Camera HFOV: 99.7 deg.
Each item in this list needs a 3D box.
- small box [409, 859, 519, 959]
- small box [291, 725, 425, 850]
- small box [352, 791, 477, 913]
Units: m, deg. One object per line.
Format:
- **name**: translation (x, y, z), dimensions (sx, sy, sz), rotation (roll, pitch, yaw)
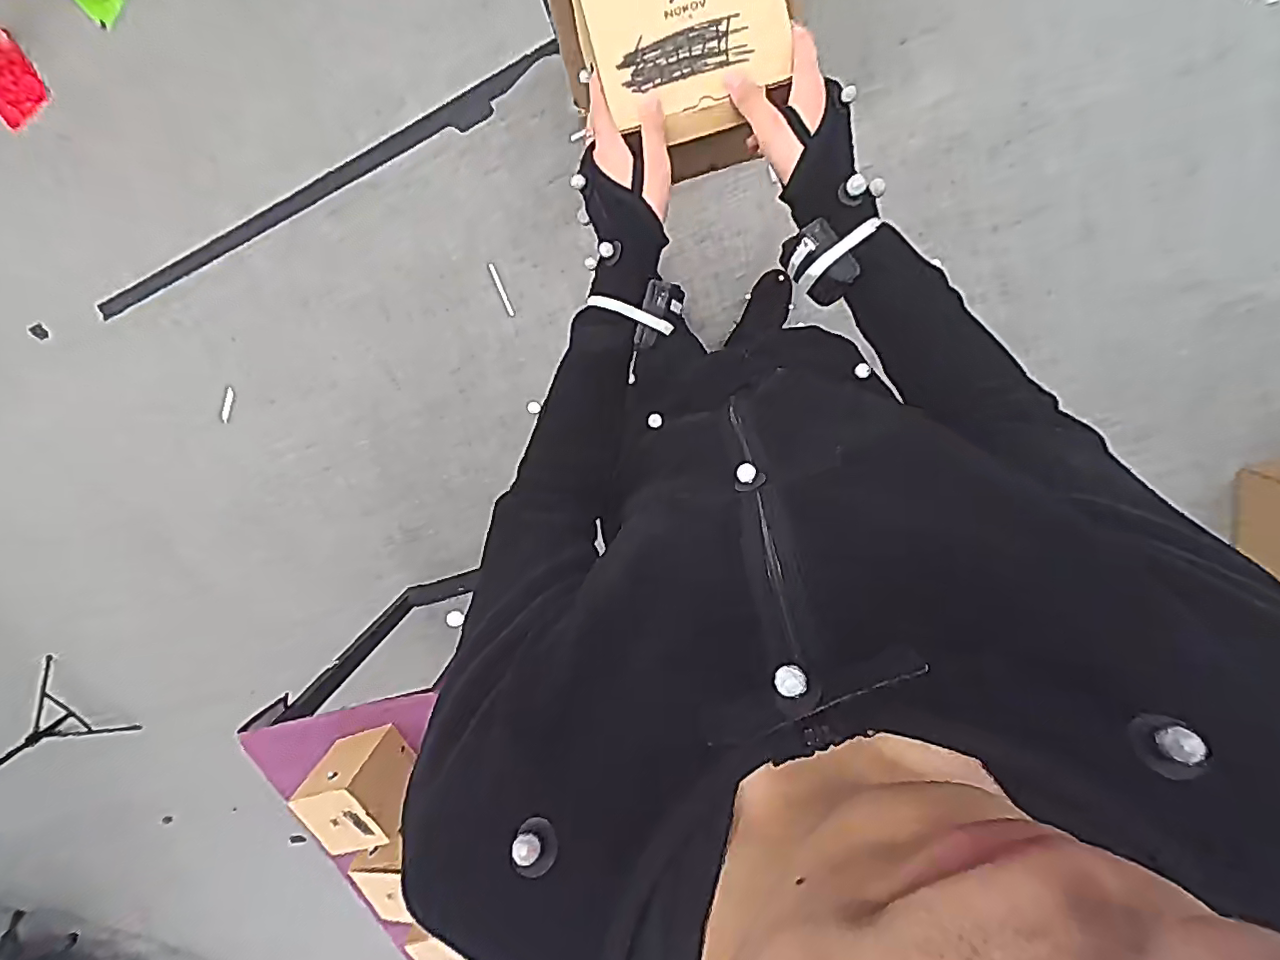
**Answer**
- **small box**: translation (-0.422, 1.083, 1.341), dimensions (0.179, 0.176, 0.168), rotation (-26, 105, 18)
- **small box**: translation (-0.611, 0.678, 1.205), dimensions (0.179, 0.176, 0.168), rotation (-22, 107, 17)
- **small box**: translation (-0.519, 0.867, 1.267), dimensions (0.179, 0.176, 0.168), rotation (-17, 108, 15)
